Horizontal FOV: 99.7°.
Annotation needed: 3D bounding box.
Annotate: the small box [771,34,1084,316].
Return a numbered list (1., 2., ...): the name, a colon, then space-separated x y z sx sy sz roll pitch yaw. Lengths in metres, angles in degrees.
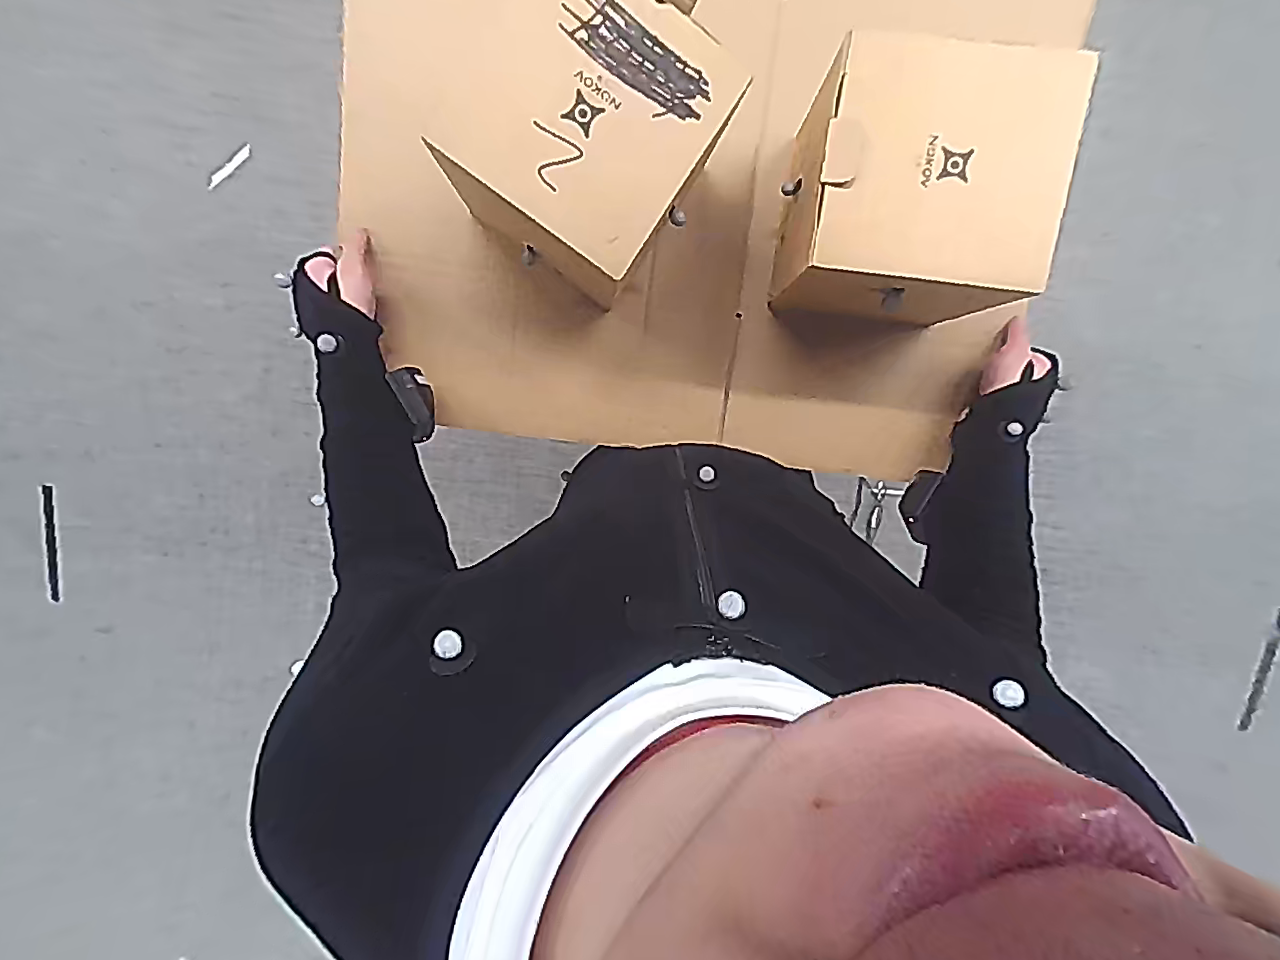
1. small box: 0.230 -0.248 0.485 0.179 0.176 0.168 7 99 2
